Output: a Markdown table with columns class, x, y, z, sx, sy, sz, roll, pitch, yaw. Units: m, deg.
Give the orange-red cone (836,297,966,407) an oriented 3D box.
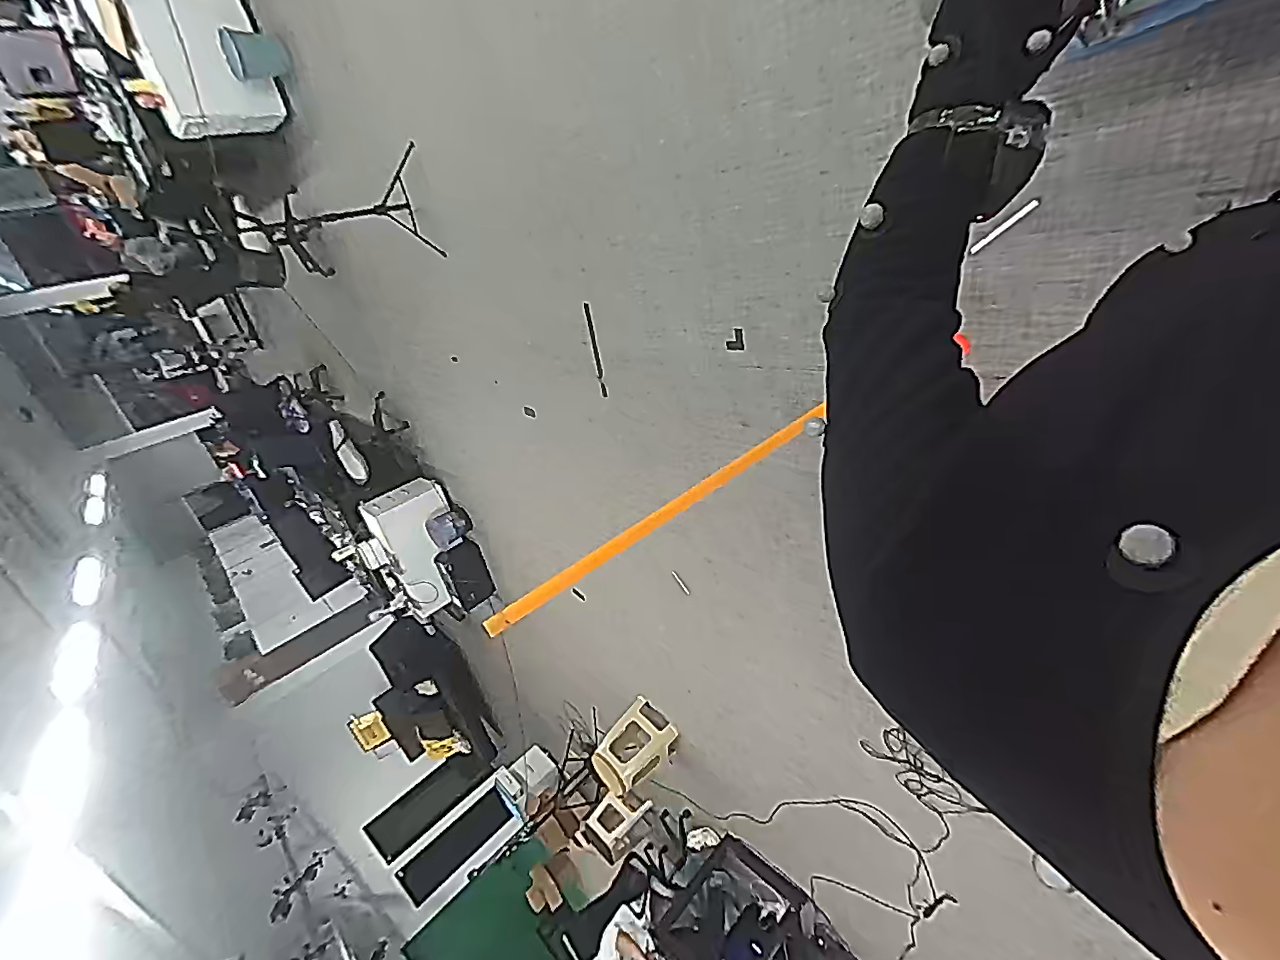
| class | x | y | z | sx | sy | sz | roll | pitch | yaw |
| --- | --- | --- | --- | --- | --- | --- | --- | --- | --- |
| orange-red cone | 0.546 | -0.248 | 1.229 | 0.198 | 0.360 | 0.199 | 50 | 144 | 10 |
